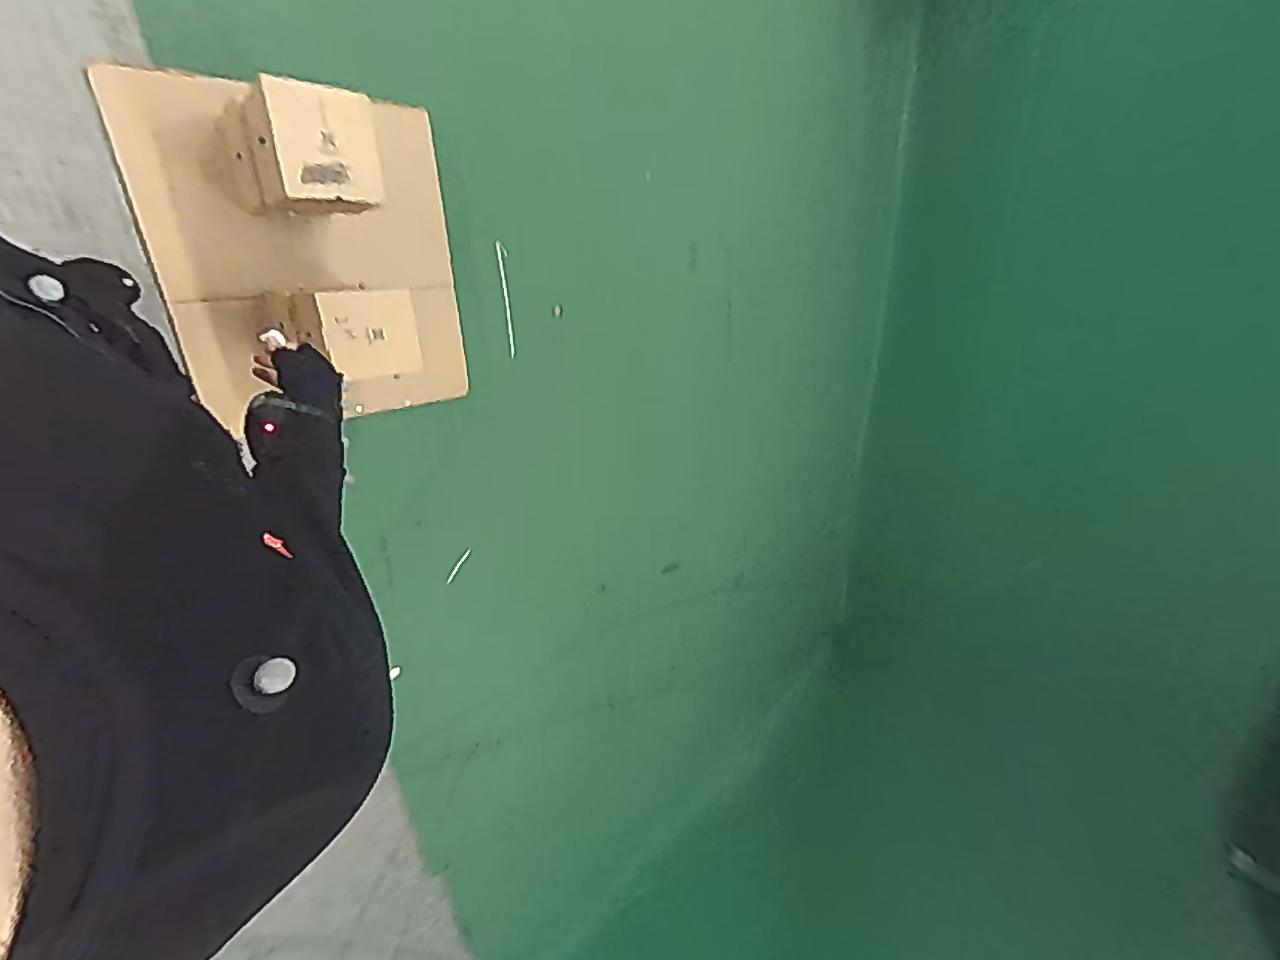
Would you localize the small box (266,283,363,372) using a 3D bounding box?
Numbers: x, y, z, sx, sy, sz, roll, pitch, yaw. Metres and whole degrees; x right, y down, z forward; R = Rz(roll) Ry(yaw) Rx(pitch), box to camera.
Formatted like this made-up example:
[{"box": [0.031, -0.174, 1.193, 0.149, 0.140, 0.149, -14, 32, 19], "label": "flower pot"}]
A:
[{"box": [-0.698, -0.347, 1.207, 0.179, 0.176, 0.168, -23, 120, -37], "label": "small box"}]

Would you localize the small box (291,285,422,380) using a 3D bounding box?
[{"box": [-0.576, -0.307, 1.103, 0.179, 0.176, 0.168, -21, 118, -39], "label": "small box"}]

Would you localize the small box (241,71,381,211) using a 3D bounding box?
[{"box": [-0.592, -0.593, 0.976, 0.168, 0.176, 0.179, -18, 115, -40], "label": "small box"}]
